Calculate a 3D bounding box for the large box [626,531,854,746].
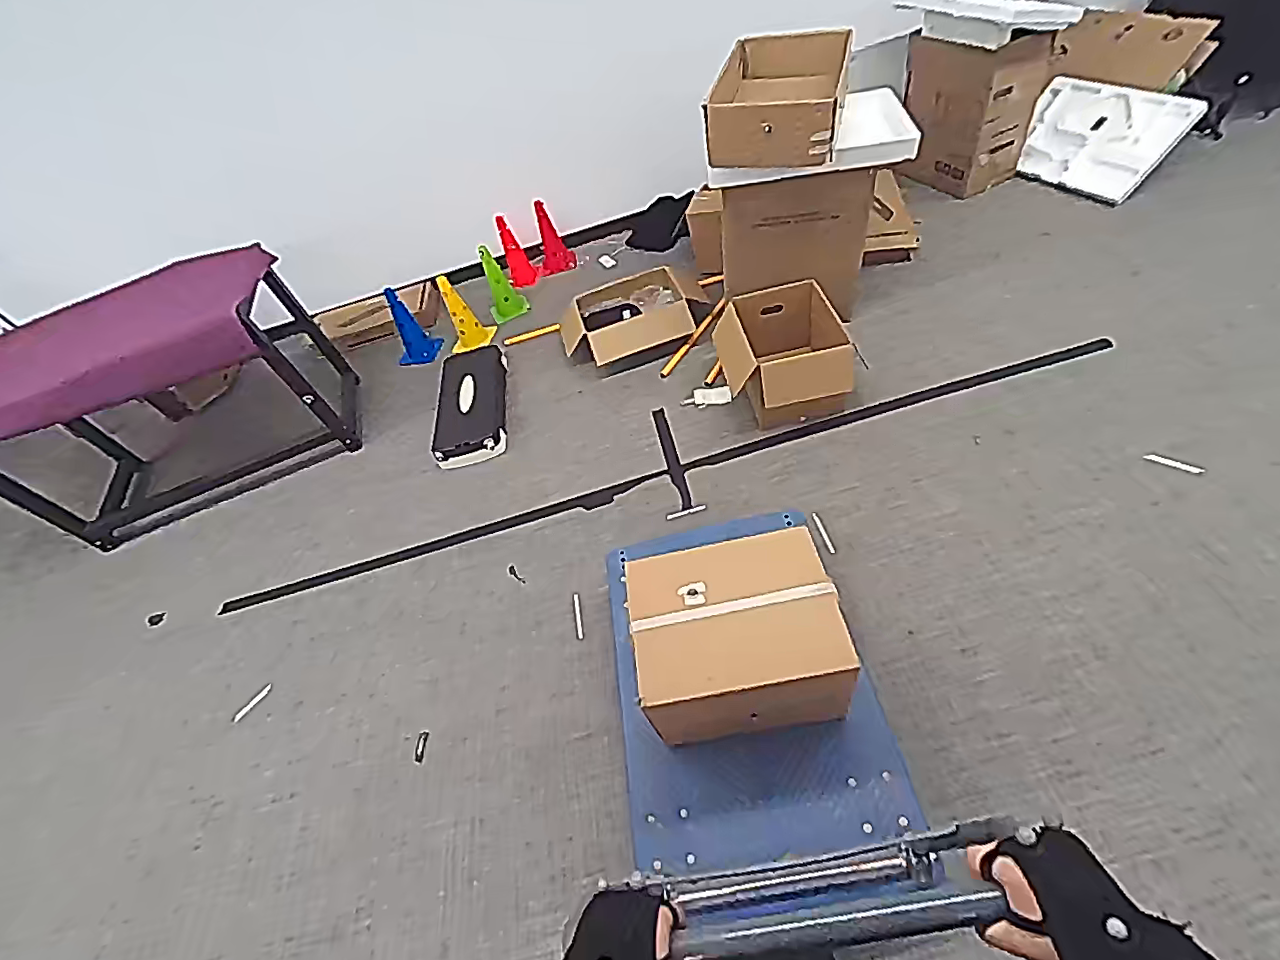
[{"bbox_3d":[0.212,0.362,1.204,0.408,0.320,0.320,-14,49,5],"label":"large box"}]
